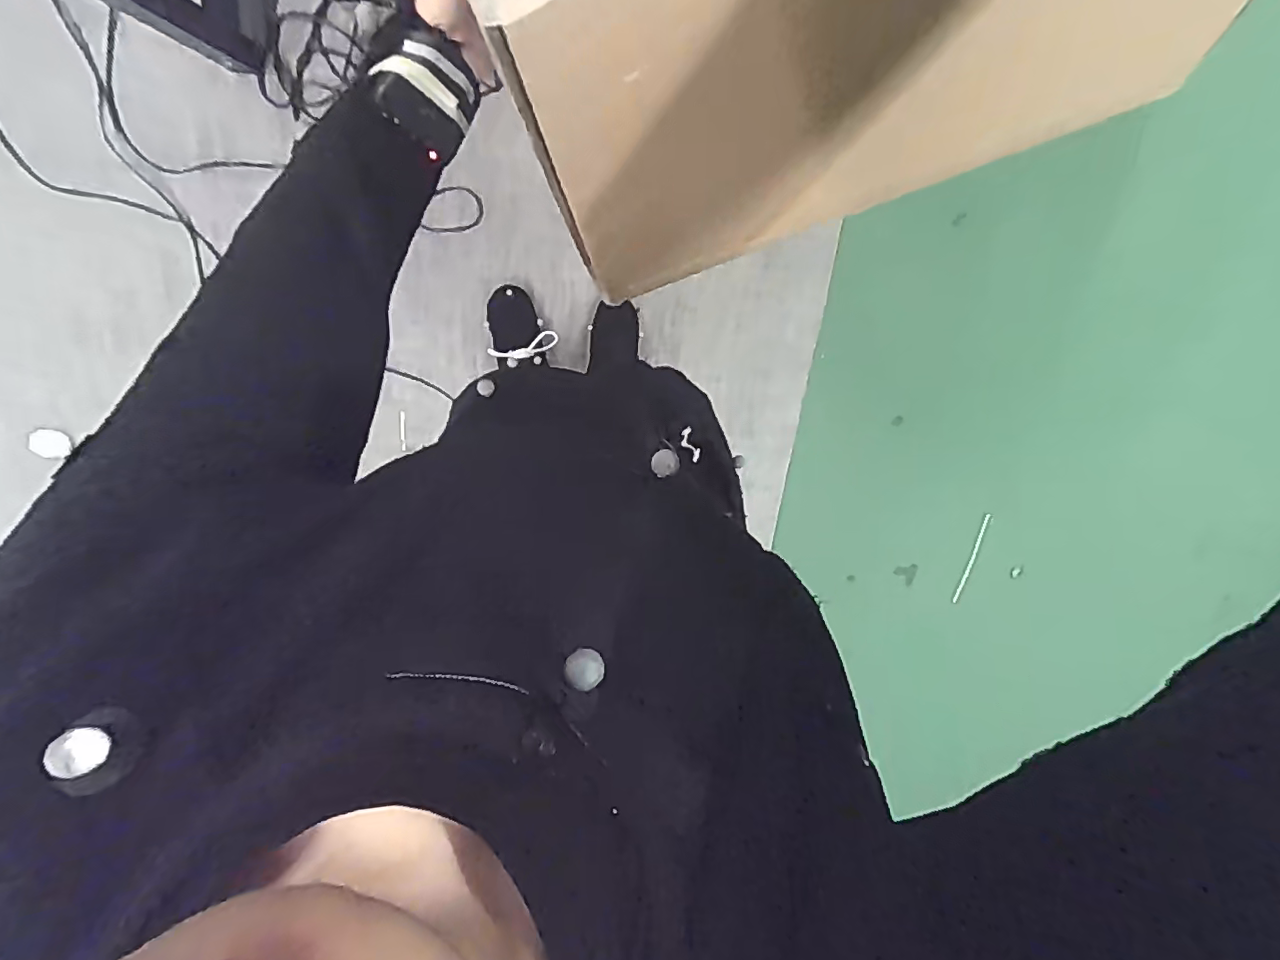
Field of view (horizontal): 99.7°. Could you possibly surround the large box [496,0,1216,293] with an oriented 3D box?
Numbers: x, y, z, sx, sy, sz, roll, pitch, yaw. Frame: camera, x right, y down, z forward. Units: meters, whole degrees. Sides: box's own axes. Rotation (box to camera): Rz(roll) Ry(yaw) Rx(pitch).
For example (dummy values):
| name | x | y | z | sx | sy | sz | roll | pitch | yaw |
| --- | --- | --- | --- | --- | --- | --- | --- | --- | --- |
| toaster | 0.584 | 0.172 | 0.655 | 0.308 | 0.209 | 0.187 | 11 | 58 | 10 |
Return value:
| name | x | y | z | sx | sy | sz | roll | pitch | yaw |
| --- | --- | --- | --- | --- | --- | --- | --- | --- | --- |
| large box | 0.039 | -0.367 | 0.212 | 0.320 | 0.320 | 0.408 | -21 | 71 | 3 |
